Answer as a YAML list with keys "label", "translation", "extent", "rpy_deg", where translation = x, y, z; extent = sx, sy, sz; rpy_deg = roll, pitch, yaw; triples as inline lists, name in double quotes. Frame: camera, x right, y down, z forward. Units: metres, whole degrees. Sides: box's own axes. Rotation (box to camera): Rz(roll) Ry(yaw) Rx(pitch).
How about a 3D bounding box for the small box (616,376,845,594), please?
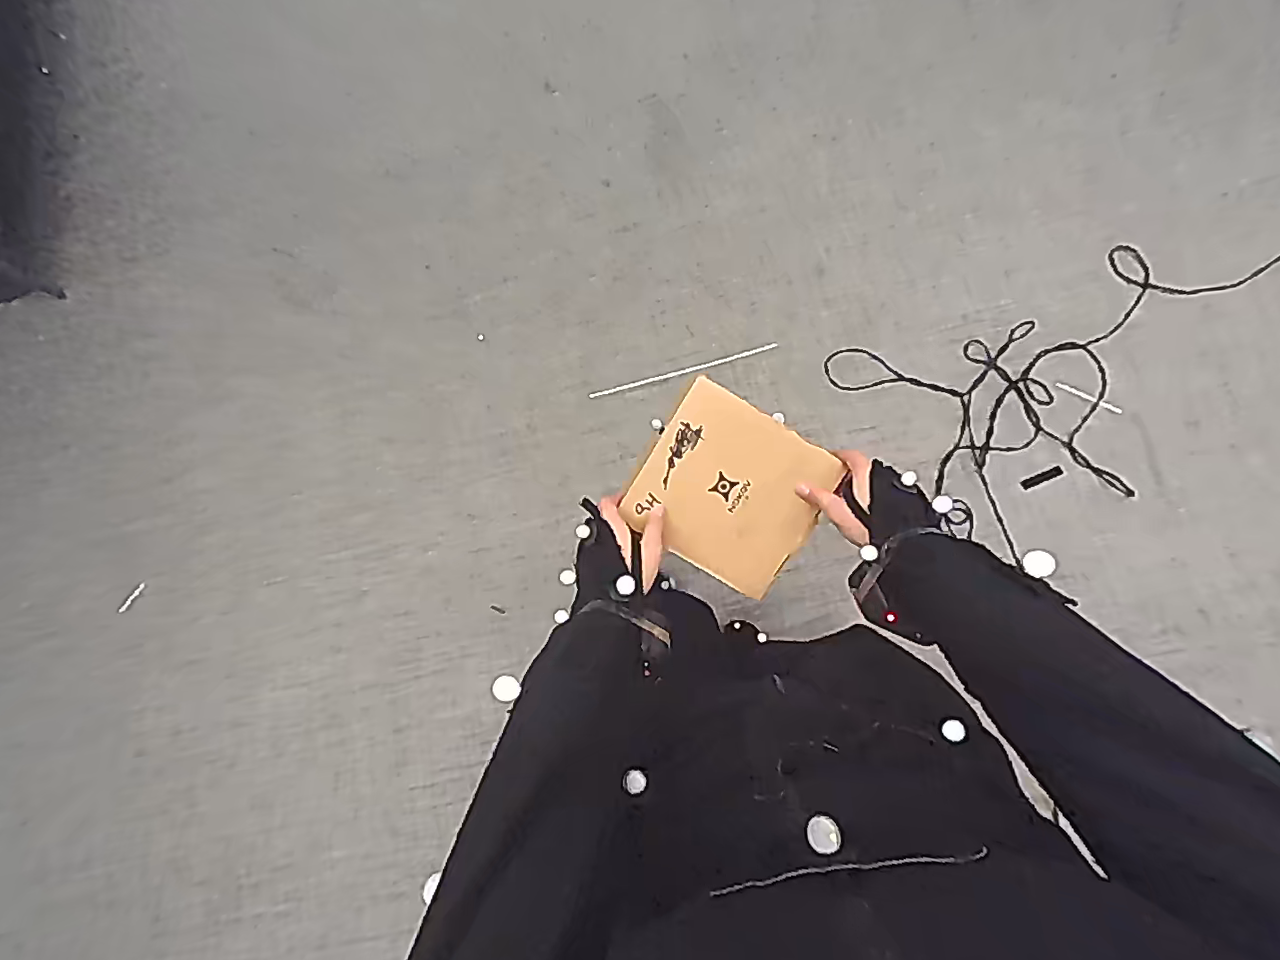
- label: "small box"
  translation: [0.091, -0.006, 0.618]
  extent: [0.179, 0.176, 0.168]
  rpy_deg: [31, 98, -4]
